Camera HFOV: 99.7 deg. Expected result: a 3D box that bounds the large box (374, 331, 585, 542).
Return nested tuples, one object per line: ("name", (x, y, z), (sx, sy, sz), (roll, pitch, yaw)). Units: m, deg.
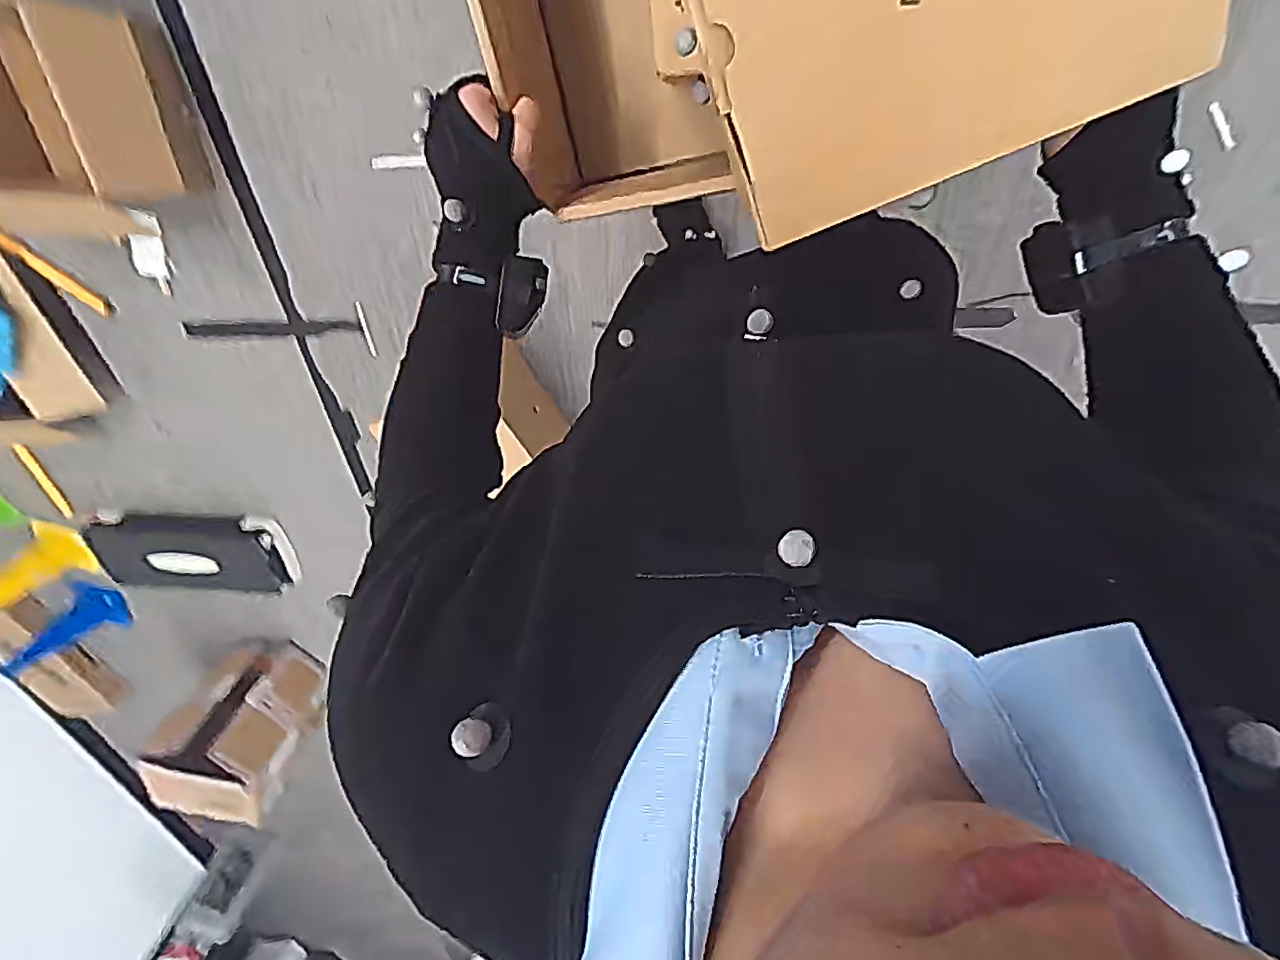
("large box", (-0.399, -0.117, 1.447), (0.320, 0.320, 0.408), (-24, 118, 19))
